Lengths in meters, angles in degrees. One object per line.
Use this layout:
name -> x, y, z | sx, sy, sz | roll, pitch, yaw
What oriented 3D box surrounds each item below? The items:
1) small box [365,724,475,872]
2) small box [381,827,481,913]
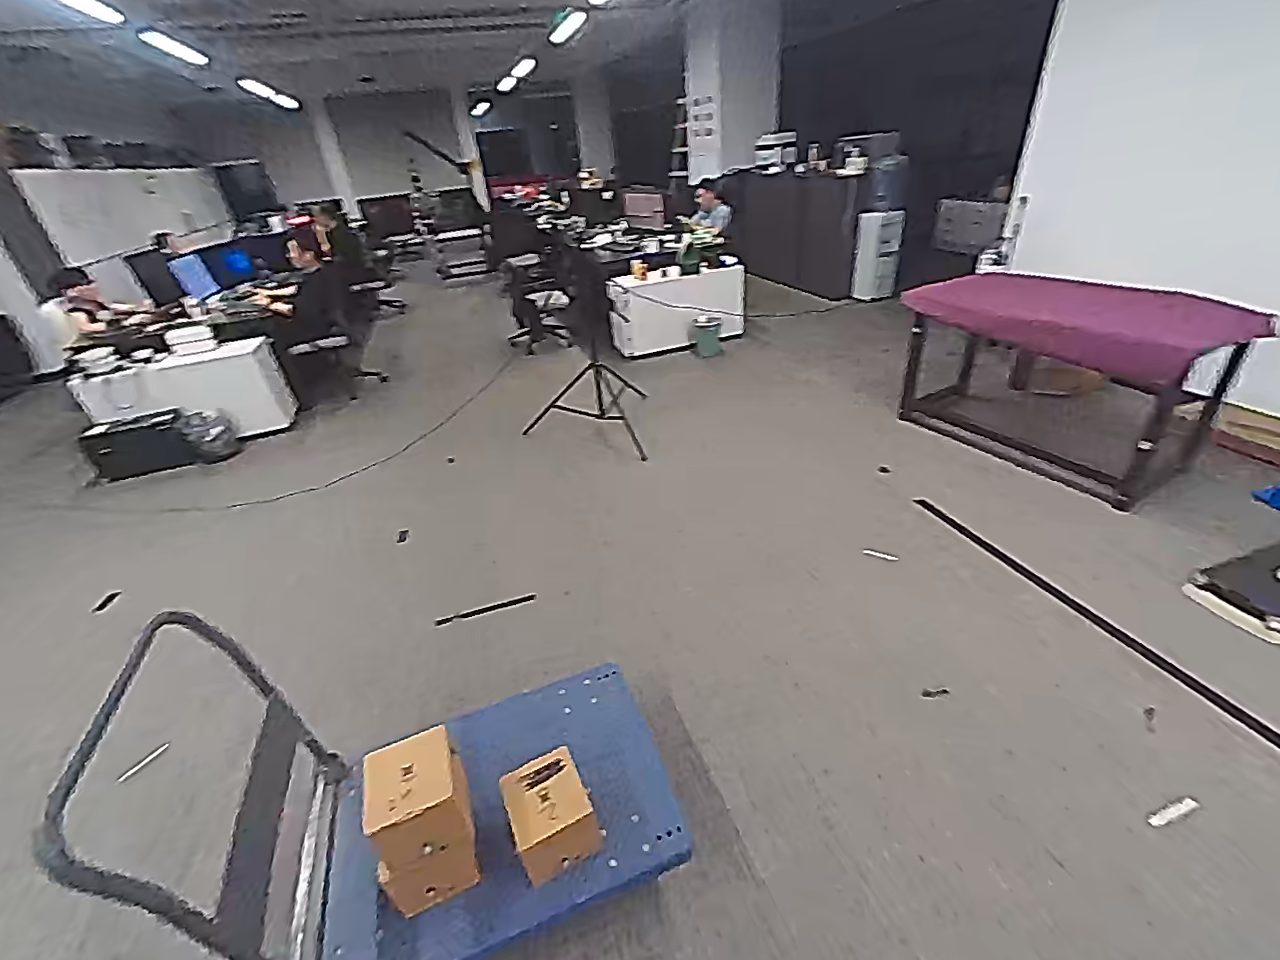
small box -> -0.453, 0.655, 1.120 | 0.168, 0.176, 0.179 | -17, 34, -17
small box -> -0.464, 0.801, 1.200 | 0.168, 0.176, 0.179 | -17, 34, -18
